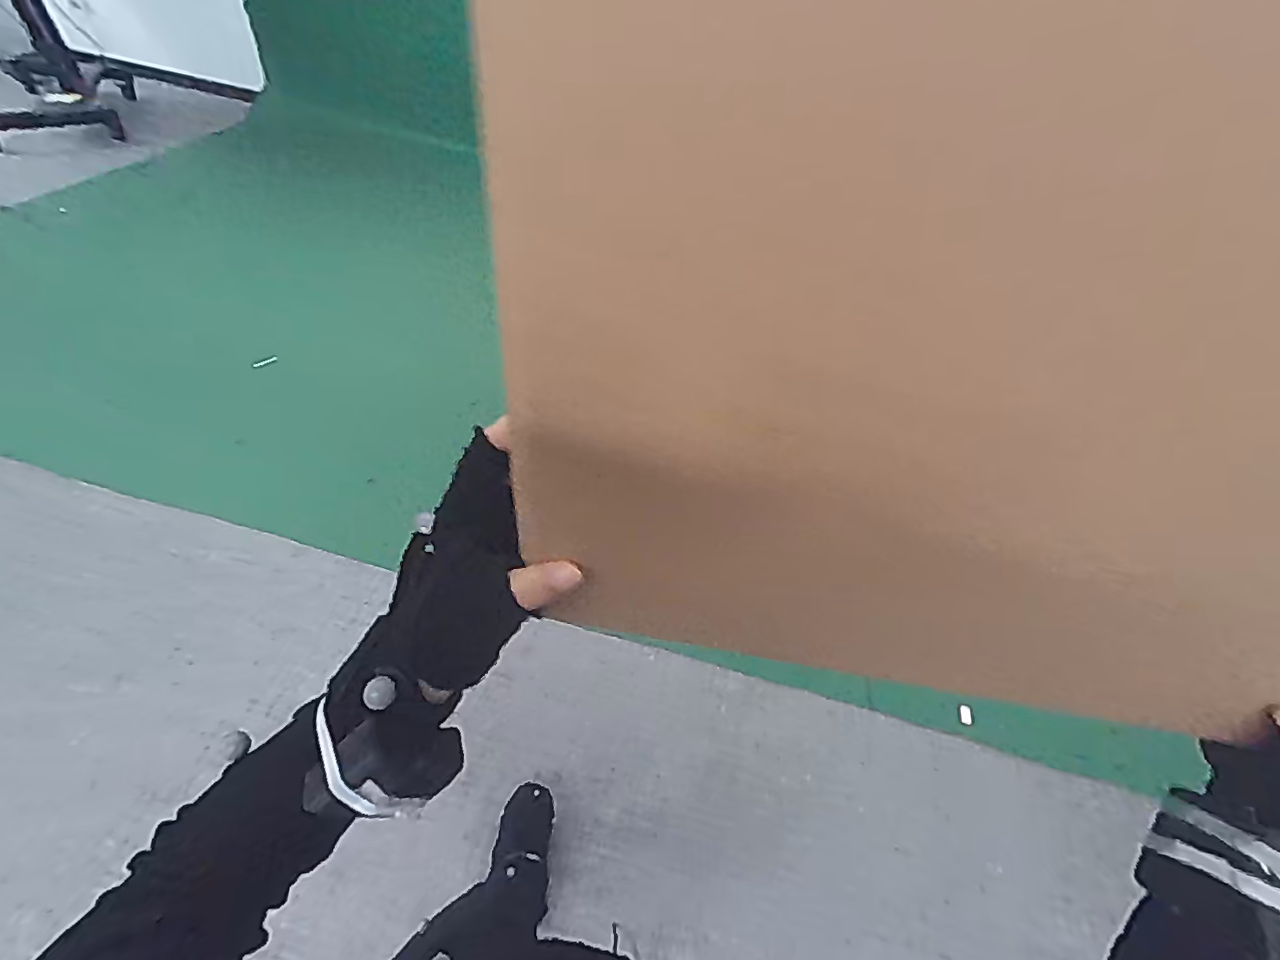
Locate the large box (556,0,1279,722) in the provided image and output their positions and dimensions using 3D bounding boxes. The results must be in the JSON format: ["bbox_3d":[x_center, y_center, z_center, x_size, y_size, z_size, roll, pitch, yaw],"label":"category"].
[{"bbox_3d":[0.185,-0.103,0.284,0.408,0.320,0.320,11,50,-2],"label":"large box"}]
